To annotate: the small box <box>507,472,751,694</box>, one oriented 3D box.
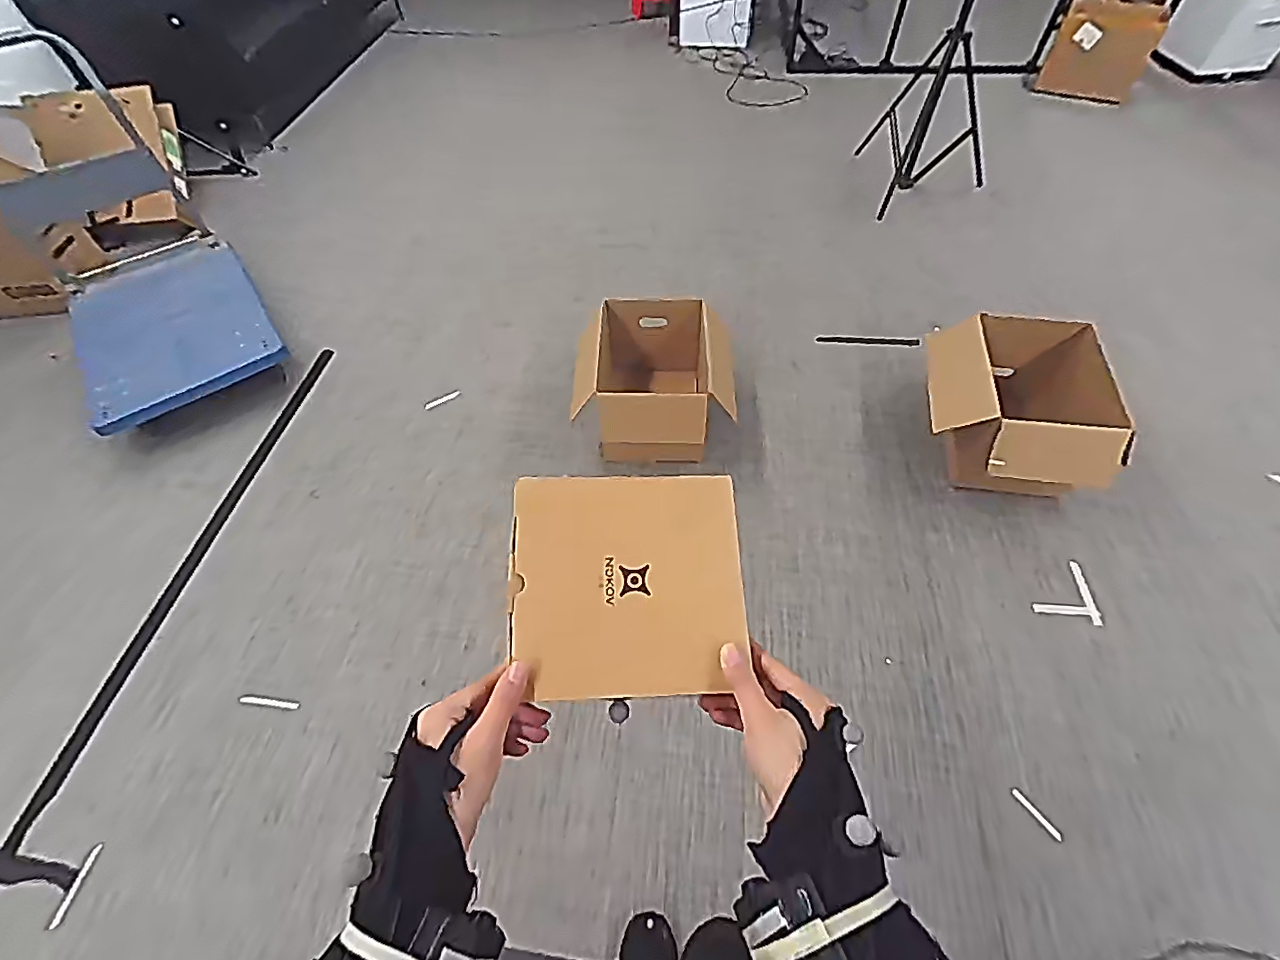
[{"bbox_3d":[-0.013,0.098,0.483,0.179,0.176,0.168,-1,70,-3],"label":"small box"}]
